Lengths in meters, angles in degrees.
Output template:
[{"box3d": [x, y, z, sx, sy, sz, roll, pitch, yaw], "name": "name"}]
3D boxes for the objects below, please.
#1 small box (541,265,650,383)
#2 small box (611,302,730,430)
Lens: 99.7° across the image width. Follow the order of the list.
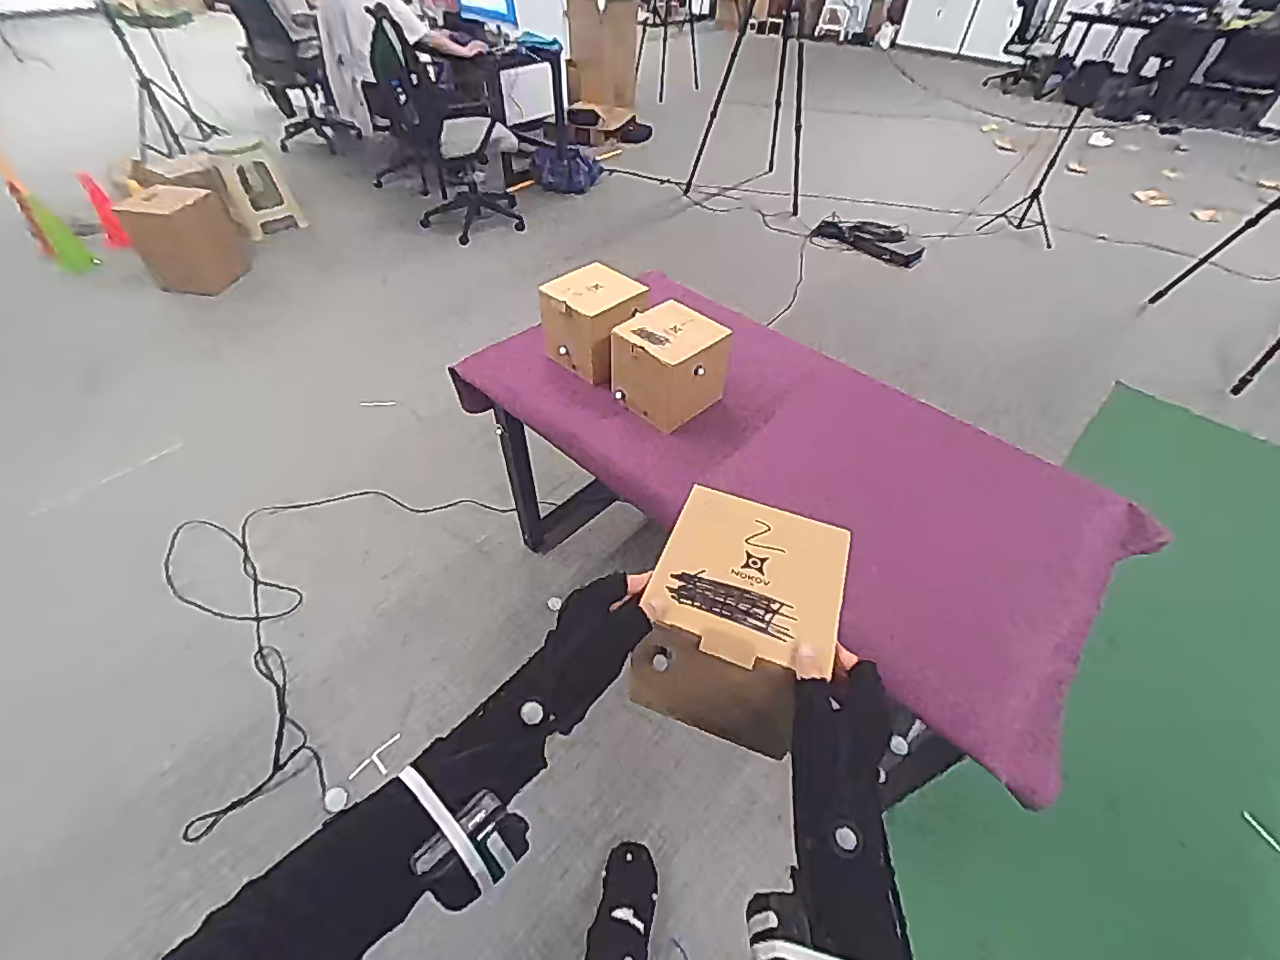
[{"box3d": [-0.099, -0.348, 1.206, 0.168, 0.176, 0.179, 36, 56, 27], "name": "small box"}, {"box3d": [0.059, -0.231, 1.105, 0.179, 0.176, 0.168, -35, 58, -30], "name": "small box"}]
